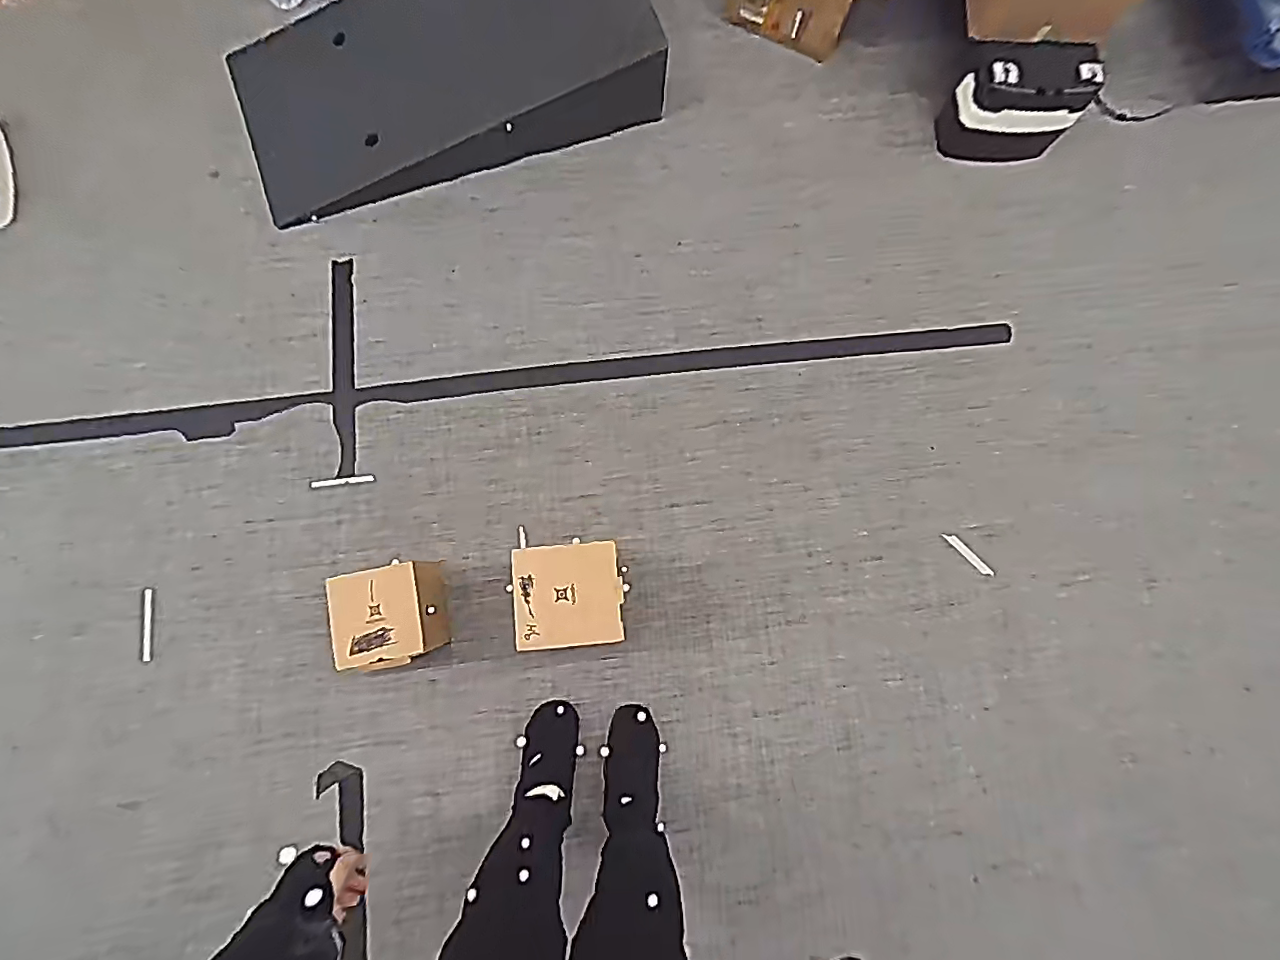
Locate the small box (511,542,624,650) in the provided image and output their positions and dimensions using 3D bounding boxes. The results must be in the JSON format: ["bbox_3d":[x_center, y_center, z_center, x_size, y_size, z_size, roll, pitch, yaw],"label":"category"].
[{"bbox_3d":[-0.123,0.196,0.948,0.179,0.176,0.168,-4,81,-4],"label":"small box"}]

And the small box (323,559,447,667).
[{"bbox_3d":[-0.502,0.258,1.086,0.168,0.176,0.179,-10,82,-4],"label":"small box"}]
